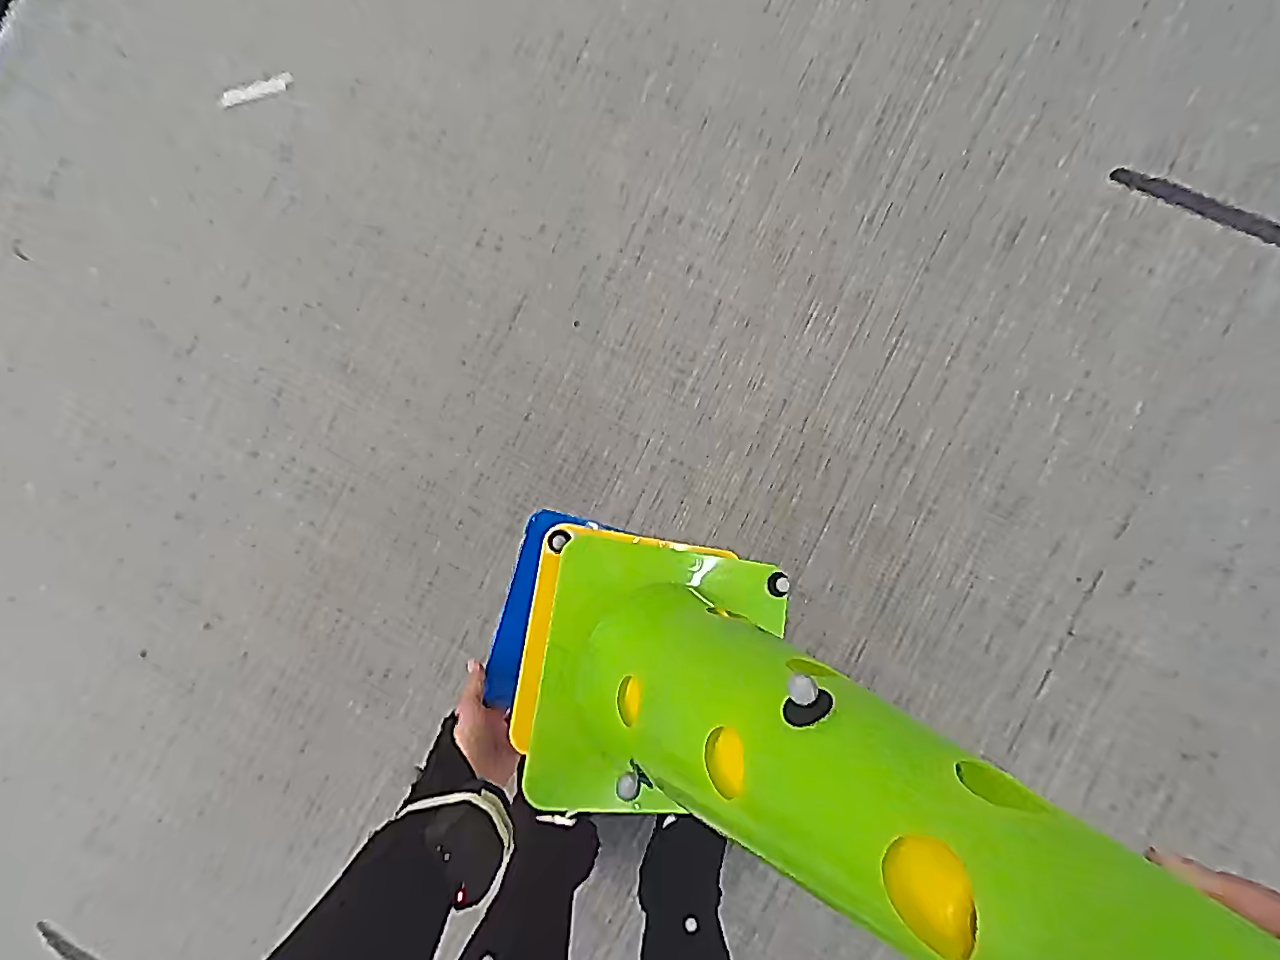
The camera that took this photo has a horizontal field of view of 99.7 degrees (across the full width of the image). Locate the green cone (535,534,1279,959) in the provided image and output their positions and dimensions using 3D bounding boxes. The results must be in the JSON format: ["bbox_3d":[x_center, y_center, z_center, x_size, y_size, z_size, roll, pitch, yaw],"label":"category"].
[{"bbox_3d":[0.080,0.132,0.261,0.200,0.368,0.202,10,81,-16],"label":"green cone"}]
